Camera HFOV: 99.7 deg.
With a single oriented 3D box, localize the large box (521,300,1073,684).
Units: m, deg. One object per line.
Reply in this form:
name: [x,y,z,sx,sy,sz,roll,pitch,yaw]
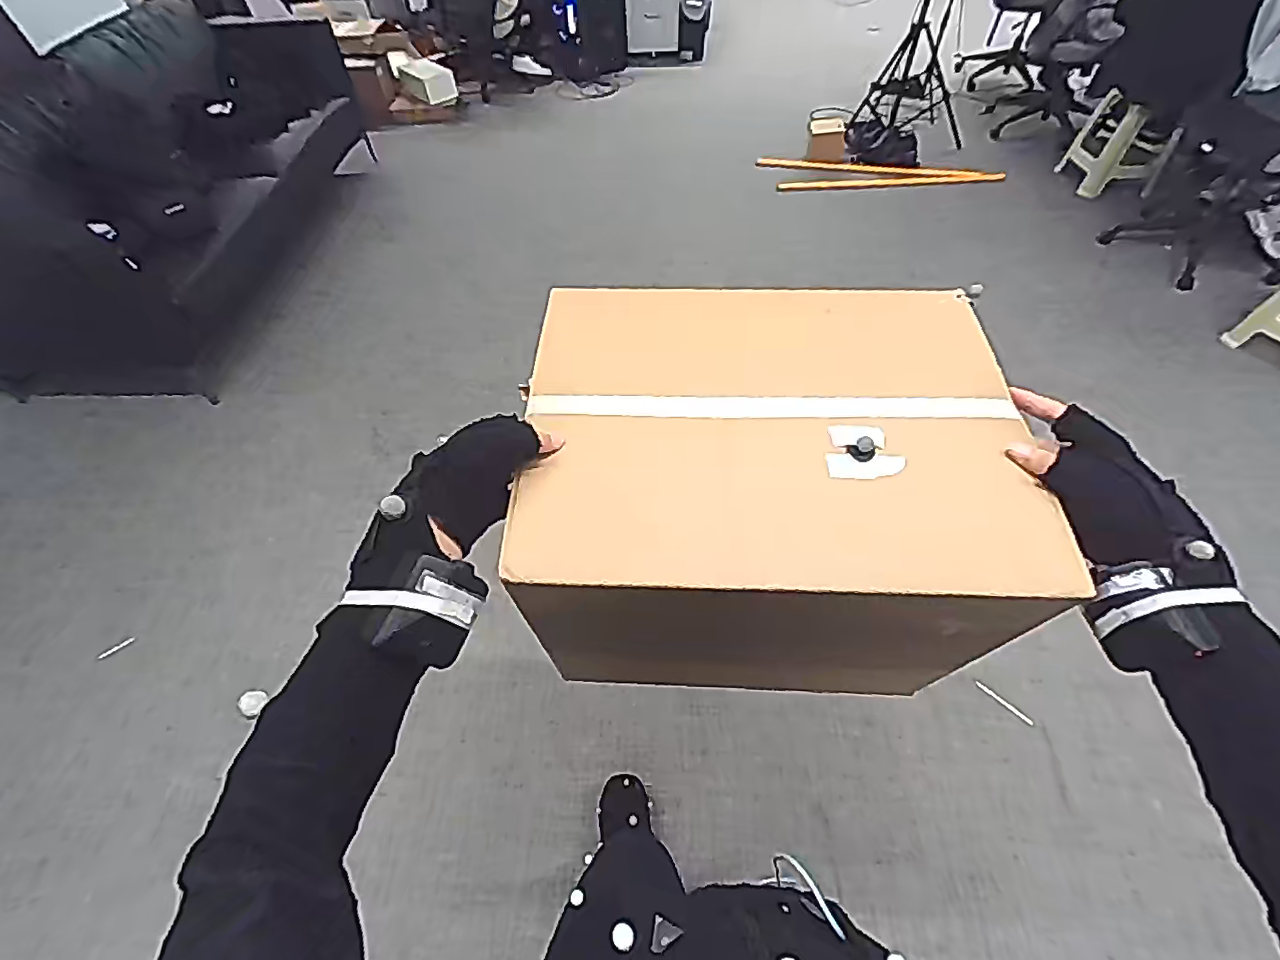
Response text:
large box: [0.114,0.027,0.590,0.408,0.320,0.320,1,57,2]
